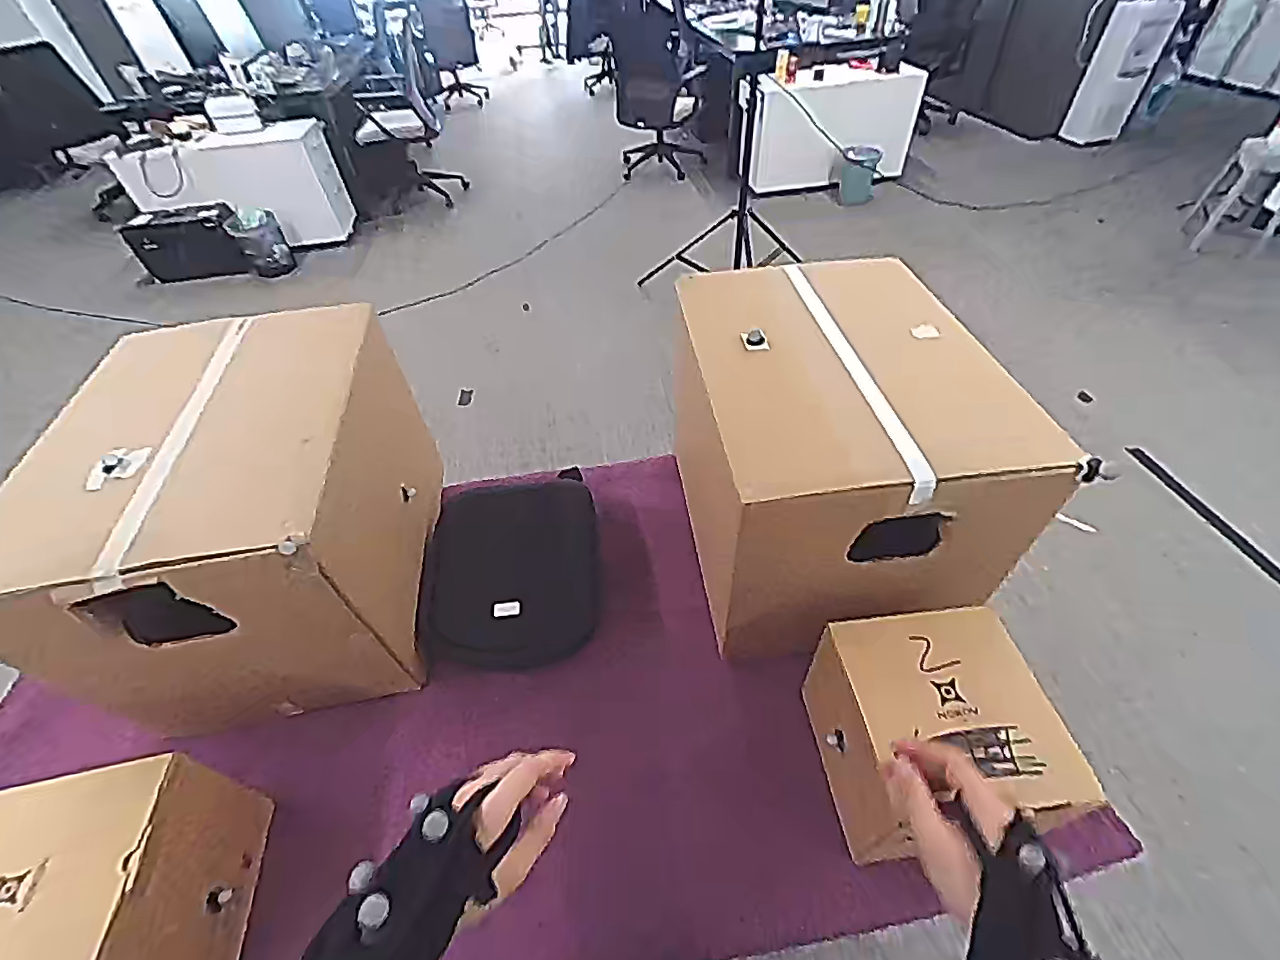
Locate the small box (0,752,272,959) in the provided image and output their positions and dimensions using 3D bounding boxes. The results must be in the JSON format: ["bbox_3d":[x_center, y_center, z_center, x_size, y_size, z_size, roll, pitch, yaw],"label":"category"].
[{"bbox_3d":[-0.476,0.372,0.476,0.179,0.176,0.168,-11,46,-7],"label":"small box"}]

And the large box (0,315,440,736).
[{"bbox_3d":[-0.458,0.047,0.689,0.320,0.320,0.408,-11,49,-5],"label":"large box"}]
